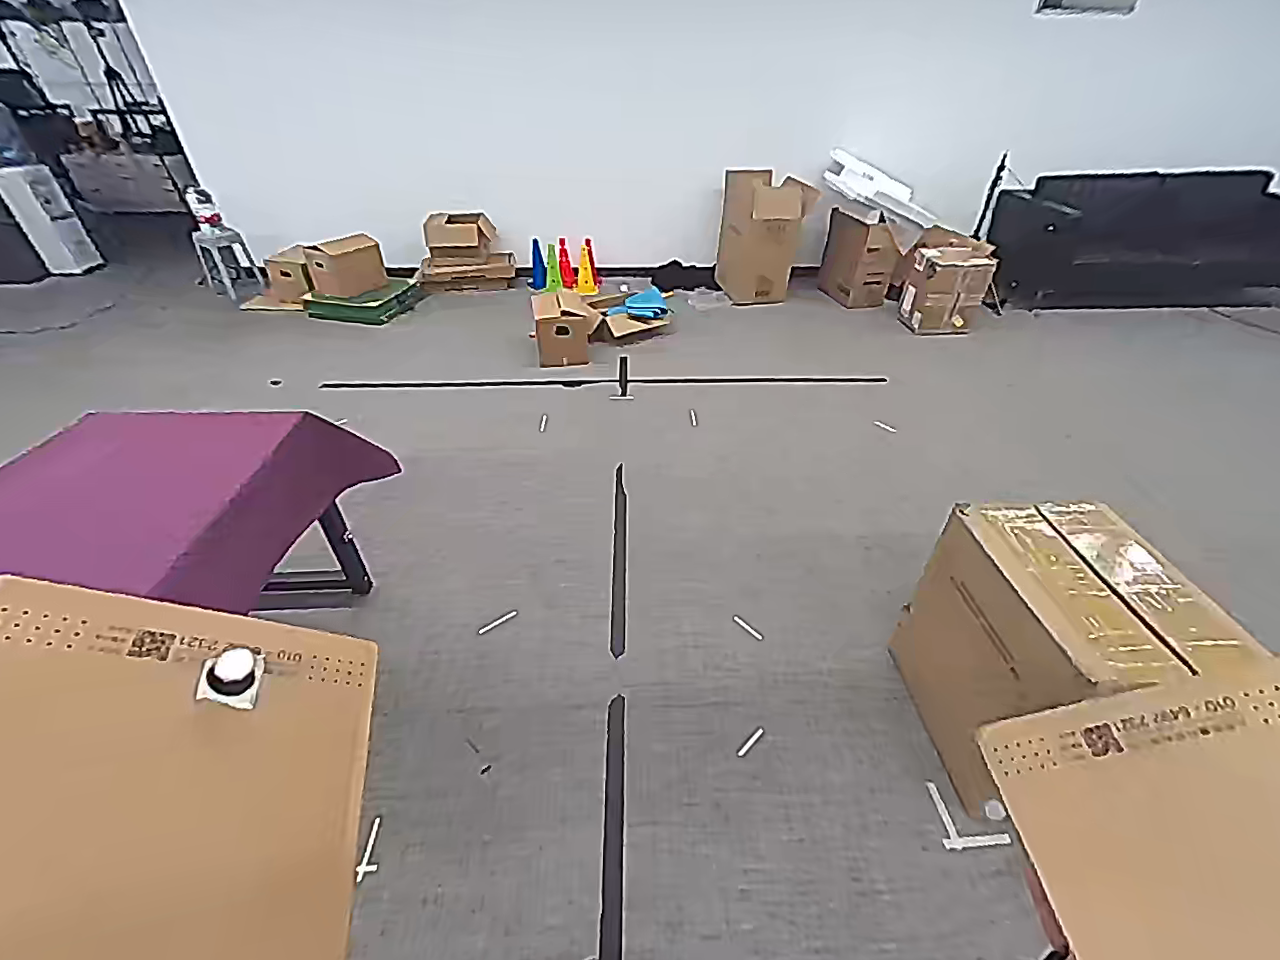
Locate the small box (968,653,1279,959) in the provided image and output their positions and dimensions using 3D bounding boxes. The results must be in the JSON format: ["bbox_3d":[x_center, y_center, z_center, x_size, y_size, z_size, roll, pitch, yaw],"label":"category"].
[{"bbox_3d":[0.322,0.215,0.313,0.168,0.179,0.176,-28,48,23],"label":"small box"}]

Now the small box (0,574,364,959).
[{"bbox_3d":[-0.253,0.176,0.263,0.168,0.179,0.176,22,29,-34],"label":"small box"}]
